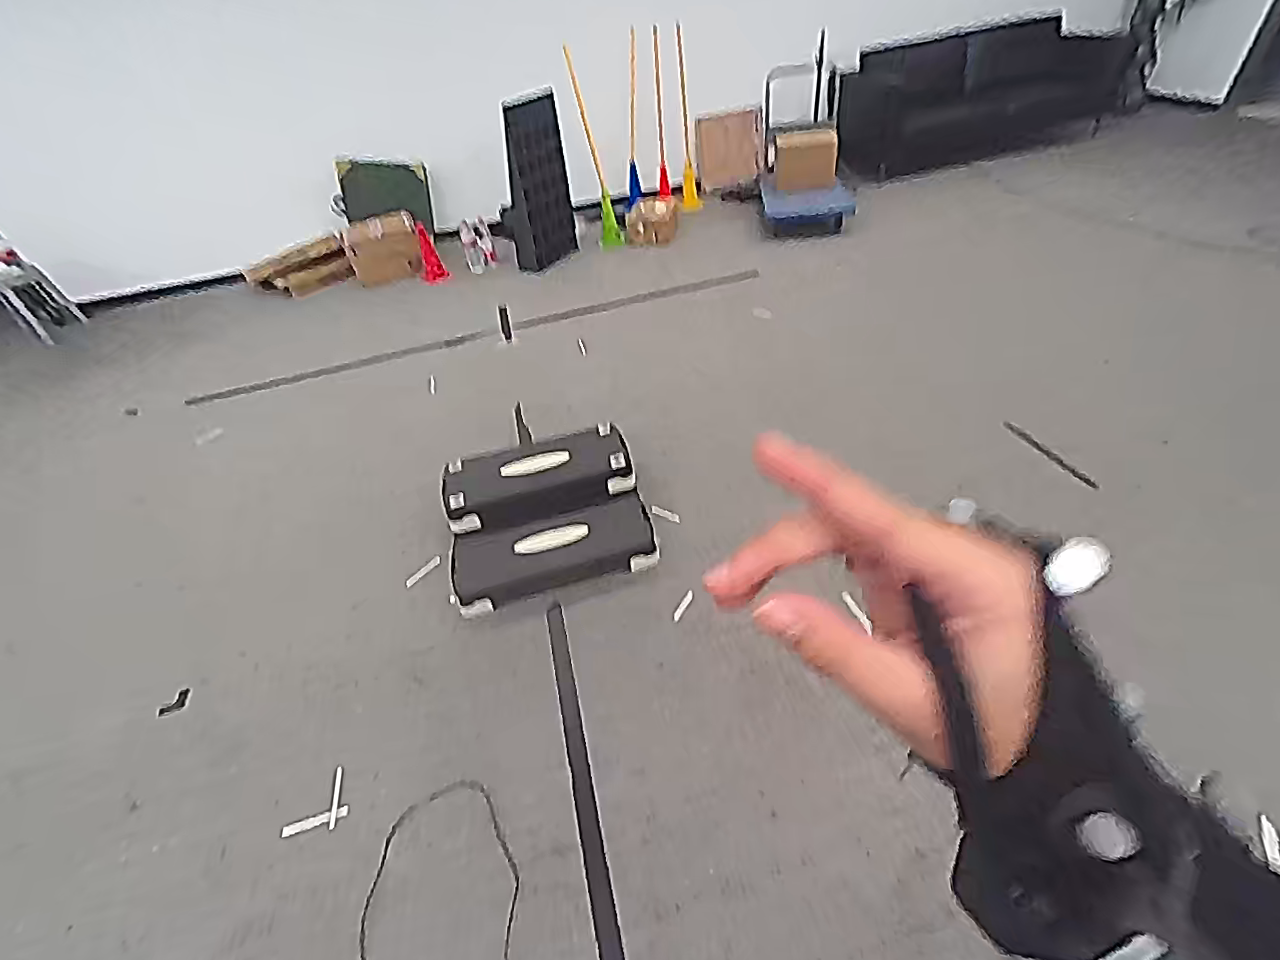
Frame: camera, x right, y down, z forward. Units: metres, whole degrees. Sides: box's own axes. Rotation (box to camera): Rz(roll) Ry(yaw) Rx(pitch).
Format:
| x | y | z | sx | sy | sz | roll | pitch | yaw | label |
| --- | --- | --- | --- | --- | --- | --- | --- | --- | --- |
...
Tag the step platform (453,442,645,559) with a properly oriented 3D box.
| x | y | z | sx | sy | sz | roll | pitch | yaw | label |
| --- | --- | --- | --- | --- | --- | --- | --- | --- | --- |
| -0.332 | 0.065 | 1.995 | 0.684 | 0.204 | 0.286 | -12 | 41 | -5 | step platform |
